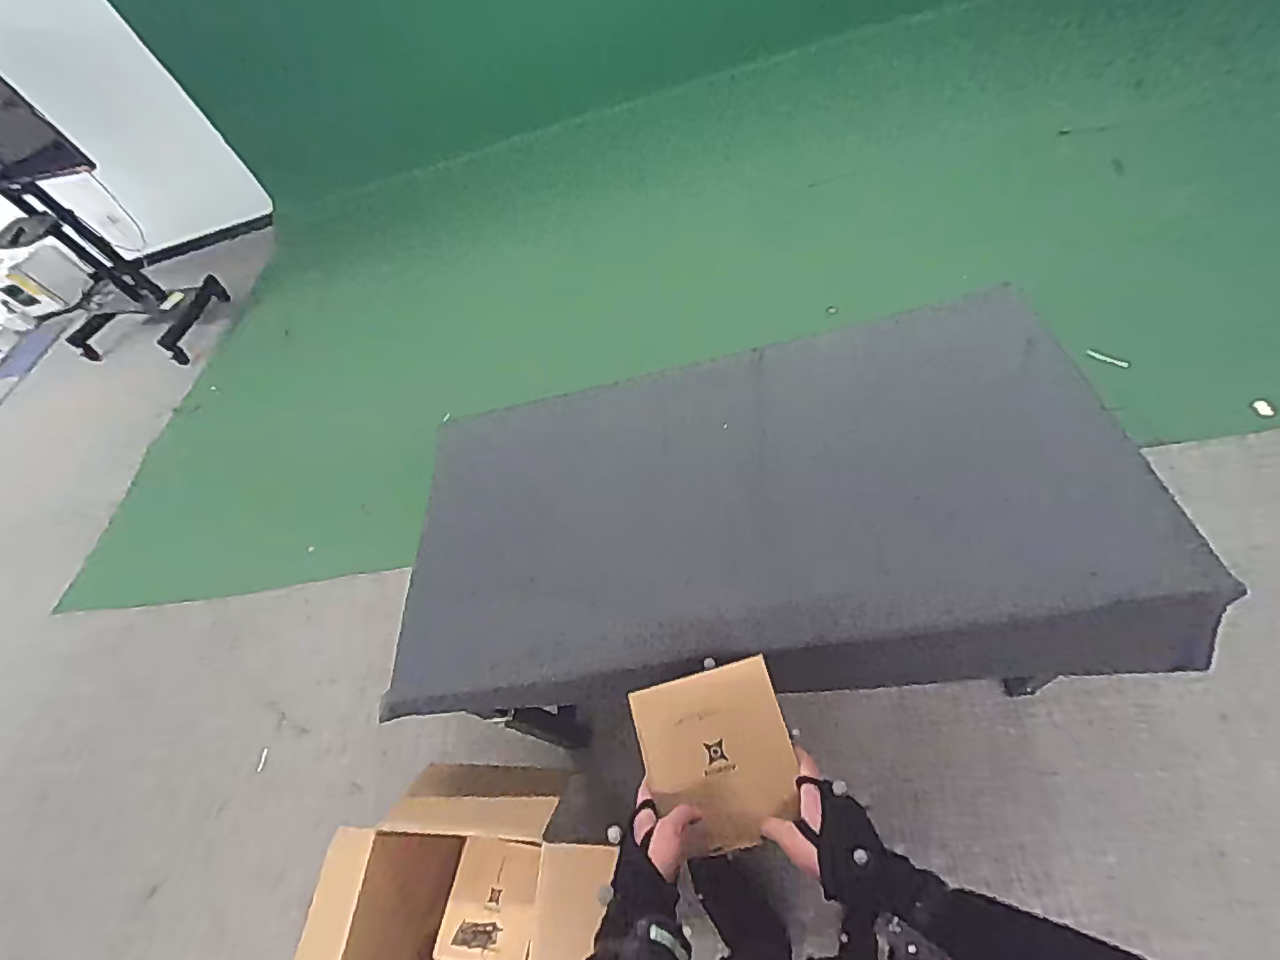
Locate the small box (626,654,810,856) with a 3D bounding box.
[{"bbox_3d":[0.098,0.326,0.673,0.168,0.176,0.179,-19,67,5],"label":"small box"}]
